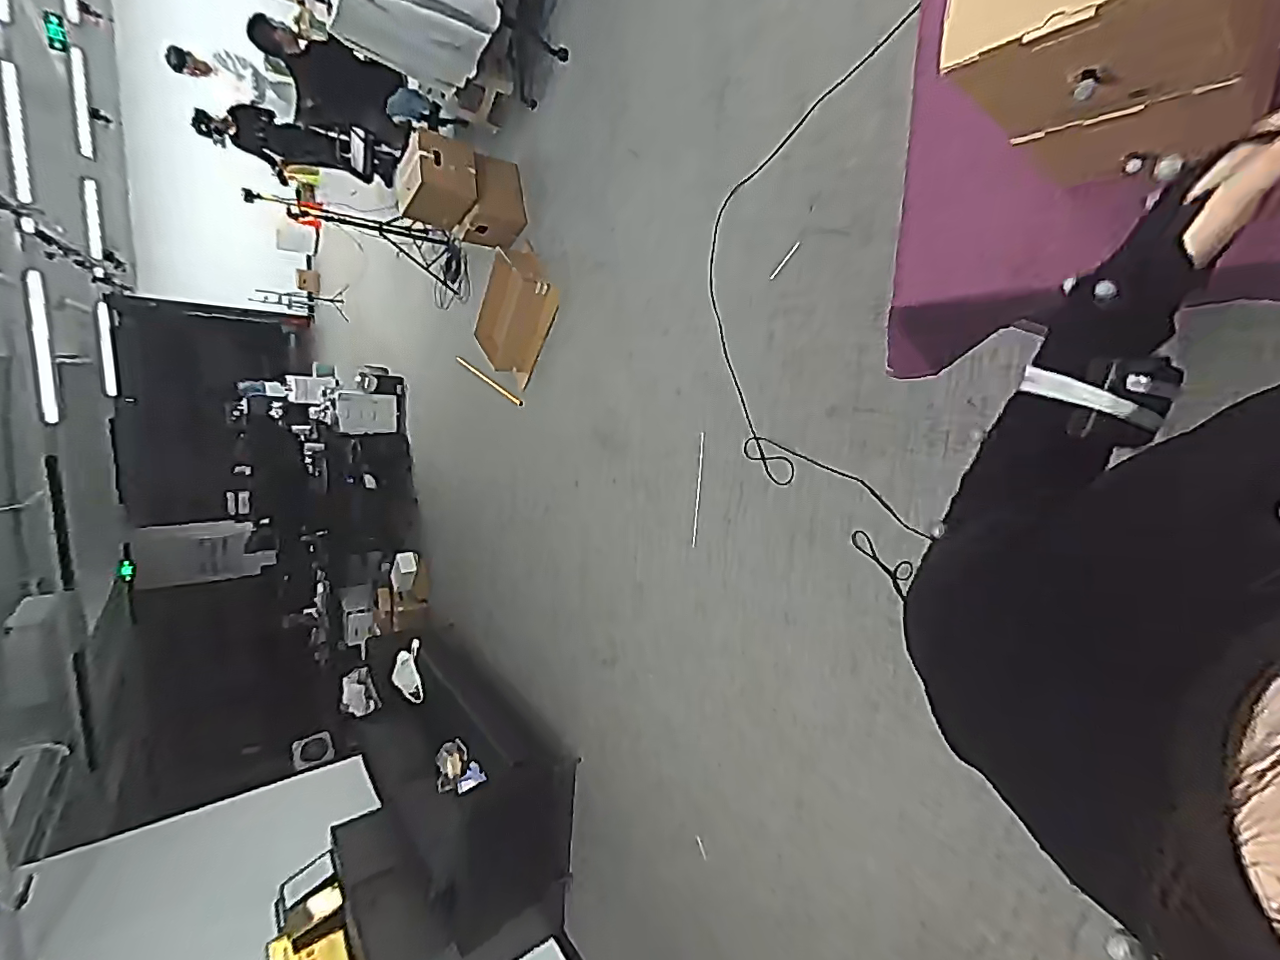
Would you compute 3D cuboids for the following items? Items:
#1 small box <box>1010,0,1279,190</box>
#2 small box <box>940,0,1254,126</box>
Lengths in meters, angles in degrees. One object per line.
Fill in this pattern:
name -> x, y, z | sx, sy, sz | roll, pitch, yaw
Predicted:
small box -> 0.502, -0.419, 0.534 | 0.168, 0.176, 0.179 | 15, 104, 51
small box -> 0.371, -0.416, 0.432 | 0.168, 0.176, 0.179 | 14, 104, 50
